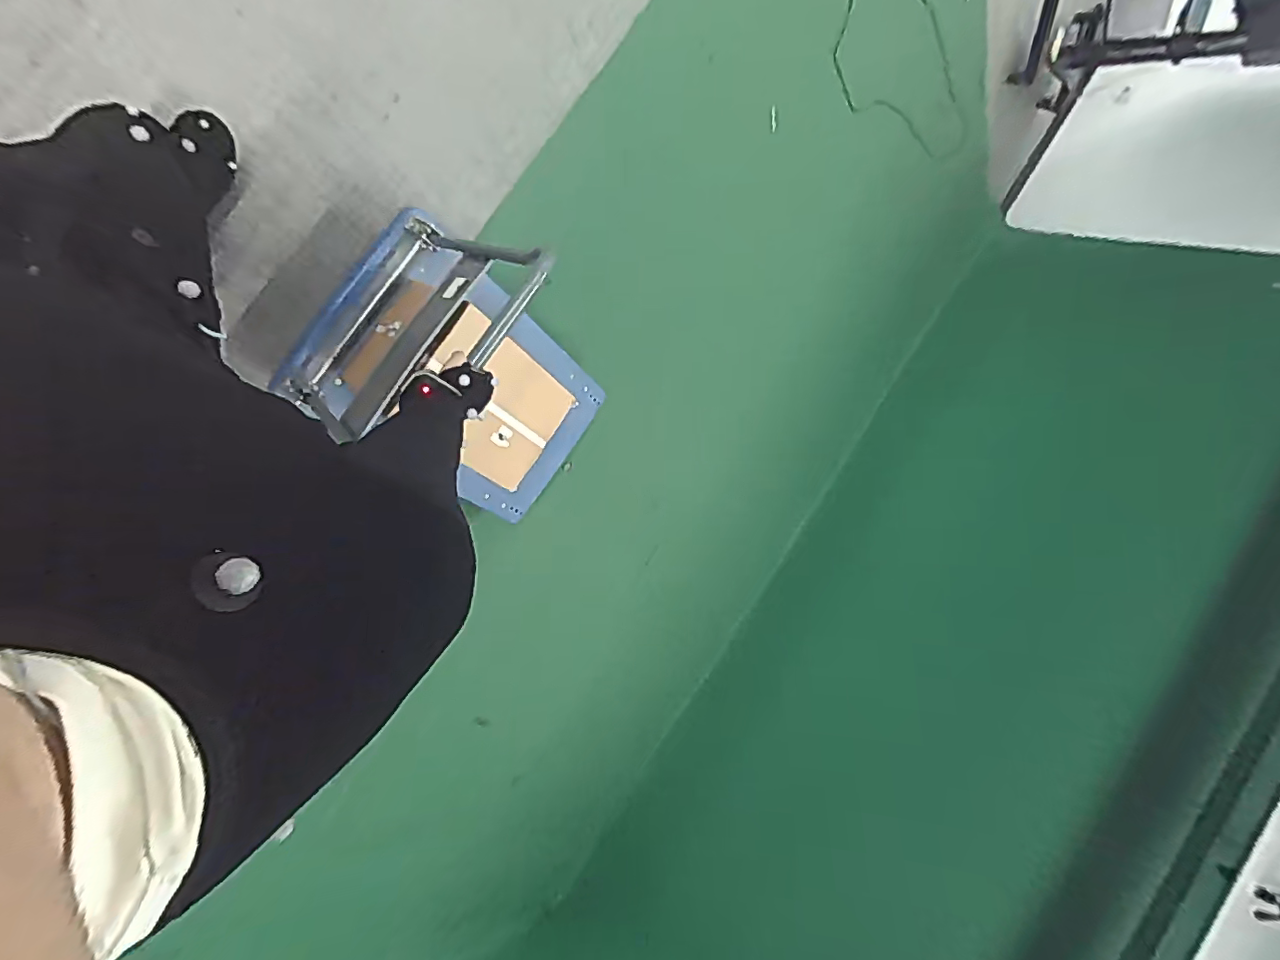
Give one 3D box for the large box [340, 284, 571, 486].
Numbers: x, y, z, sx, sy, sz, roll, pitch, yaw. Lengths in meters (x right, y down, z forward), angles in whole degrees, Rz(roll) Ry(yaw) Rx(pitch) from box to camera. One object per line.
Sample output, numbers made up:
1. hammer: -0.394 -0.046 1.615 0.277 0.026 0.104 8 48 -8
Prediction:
1. large box: -0.469 -0.241 1.406 0.320 0.320 0.408 -56 141 -5
